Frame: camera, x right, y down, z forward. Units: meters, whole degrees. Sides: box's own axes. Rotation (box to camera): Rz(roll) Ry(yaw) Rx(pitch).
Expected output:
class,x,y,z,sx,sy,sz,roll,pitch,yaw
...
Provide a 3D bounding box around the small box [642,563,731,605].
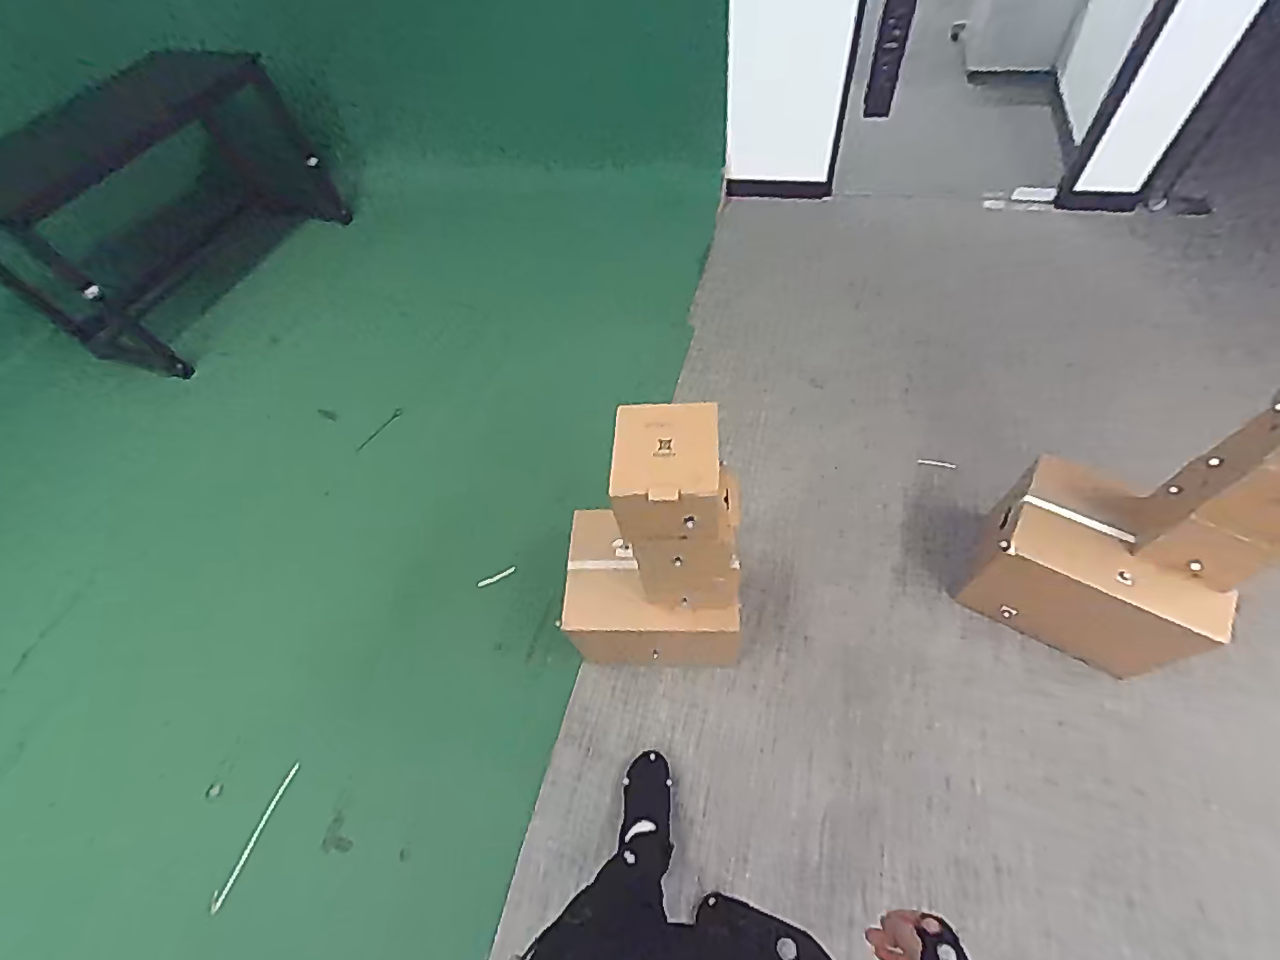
class,x,y,z,sx,sy,sz,roll,pitch,yaw
small box,0.107,0.164,1.173,0.179,0.176,0.168,2,57,9

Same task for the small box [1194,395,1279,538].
class,x,y,z,sx,sy,sz,roll,pitch,yaw
small box,1.149,-0.012,0.947,0.179,0.176,0.168,29,64,24

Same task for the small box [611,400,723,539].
class,x,y,z,sx,sy,sz,roll,pitch,yaw
small box,0.054,-0.011,0.902,0.168,0.176,0.179,-1,57,8

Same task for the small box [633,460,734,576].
class,x,y,z,sx,sy,sz,roll,pitch,yaw
small box,0.087,0.077,1.036,0.179,0.176,0.168,-3,57,8

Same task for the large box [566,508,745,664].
class,x,y,z,sx,sy,sz,roll,pitch,yaw
large box,0.053,0.284,1.397,0.408,0.320,0.320,-3,56,8

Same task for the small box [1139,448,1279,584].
class,x,y,z,sx,sy,sz,roll,pitch,yaw
small box,1.159,0.074,1.084,0.168,0.176,0.179,27,63,23
